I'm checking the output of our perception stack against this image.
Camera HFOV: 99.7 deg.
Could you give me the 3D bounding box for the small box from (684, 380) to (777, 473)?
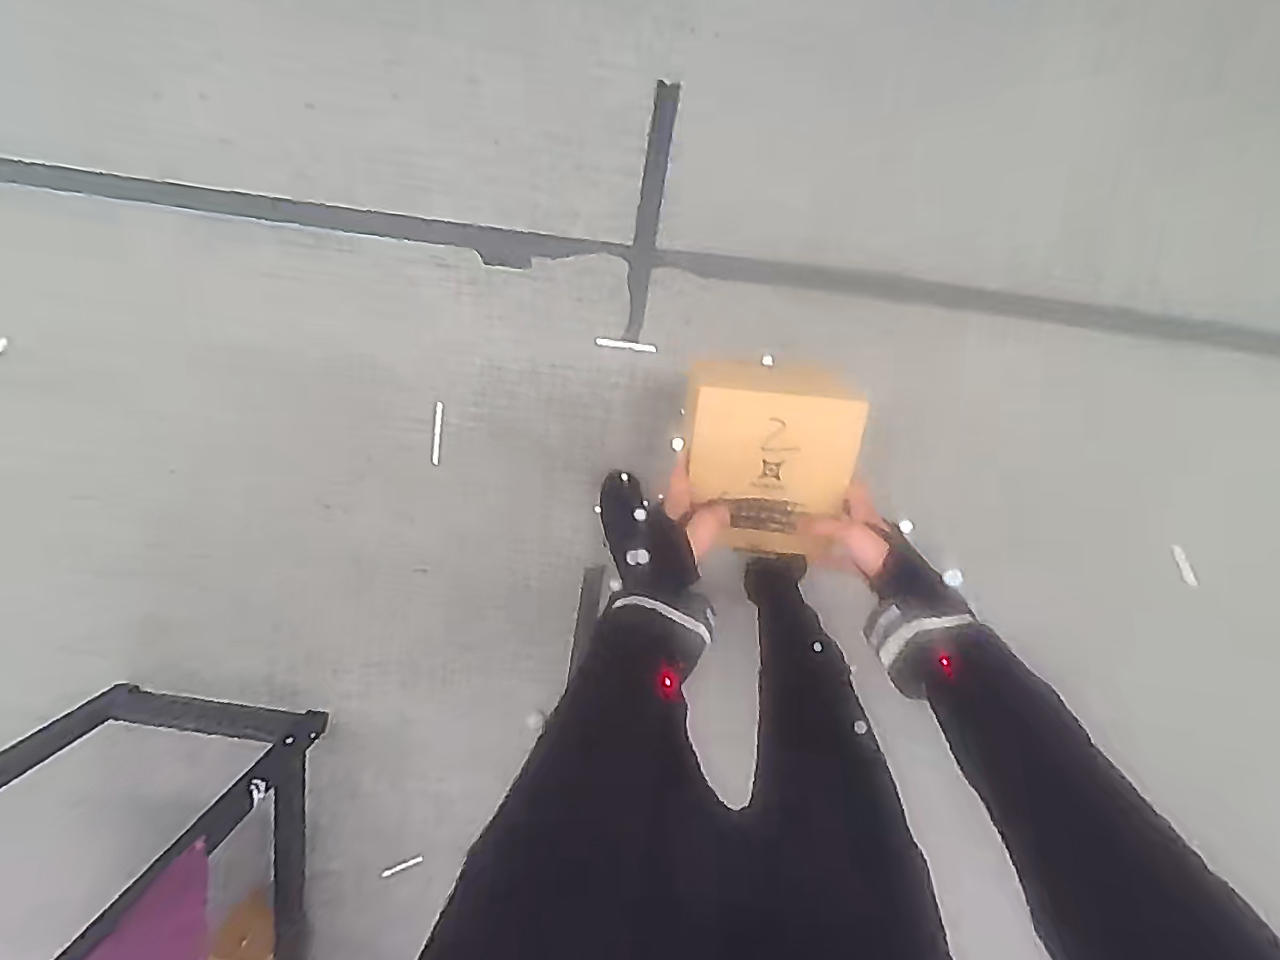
[{"bbox_3d":[0.188,-0.122,1.171,0.168,0.176,0.179,5,103,1],"label":"small box"}]
